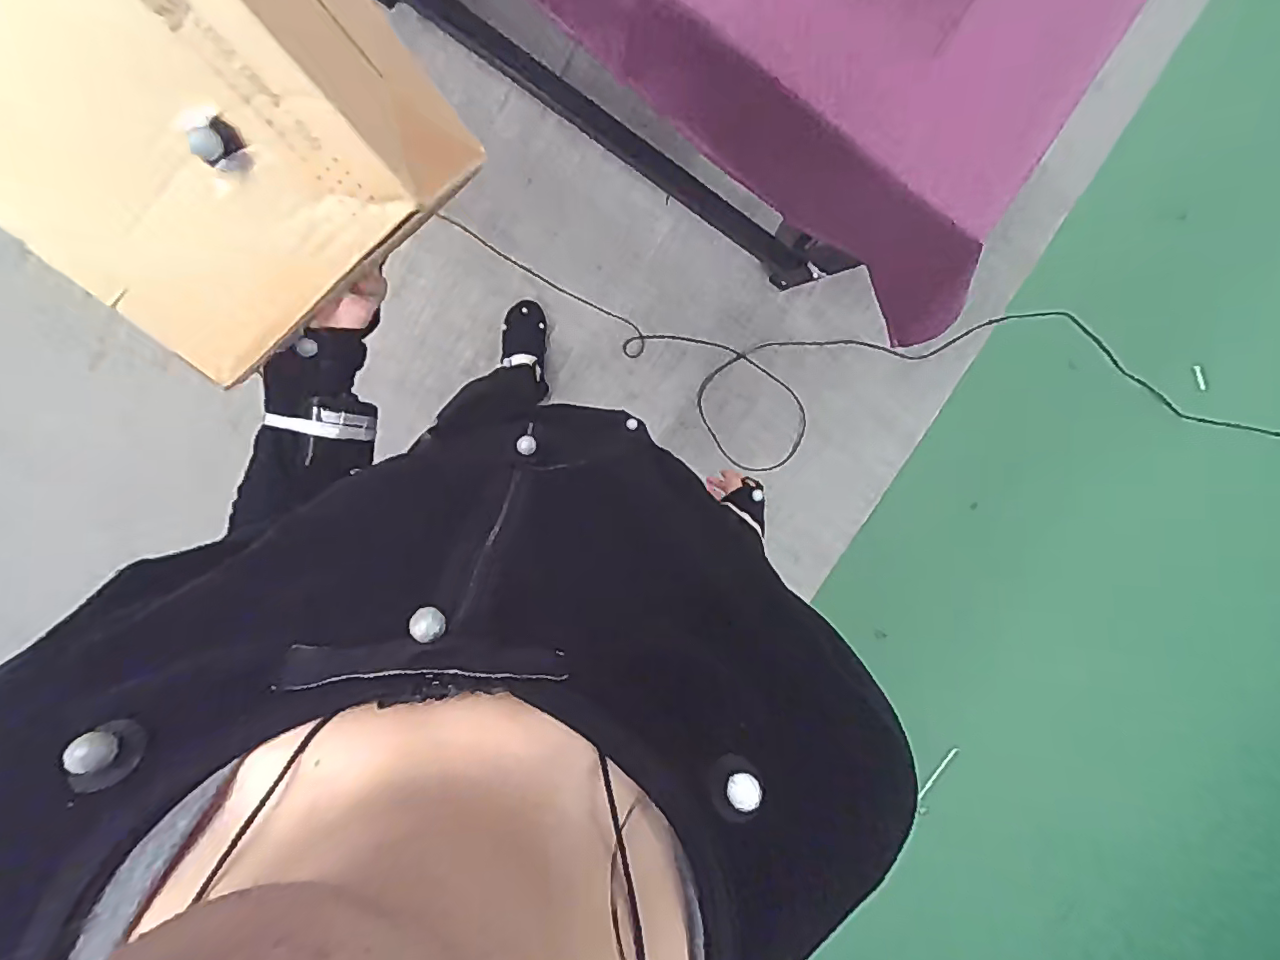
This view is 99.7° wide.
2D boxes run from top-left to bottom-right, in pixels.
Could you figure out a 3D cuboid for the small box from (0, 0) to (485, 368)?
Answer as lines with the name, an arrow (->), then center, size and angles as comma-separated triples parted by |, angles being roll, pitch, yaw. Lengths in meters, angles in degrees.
small box -> -0.210, -0.203, 0.304 | 0.176, 0.179, 0.168 | -31, 123, 19
